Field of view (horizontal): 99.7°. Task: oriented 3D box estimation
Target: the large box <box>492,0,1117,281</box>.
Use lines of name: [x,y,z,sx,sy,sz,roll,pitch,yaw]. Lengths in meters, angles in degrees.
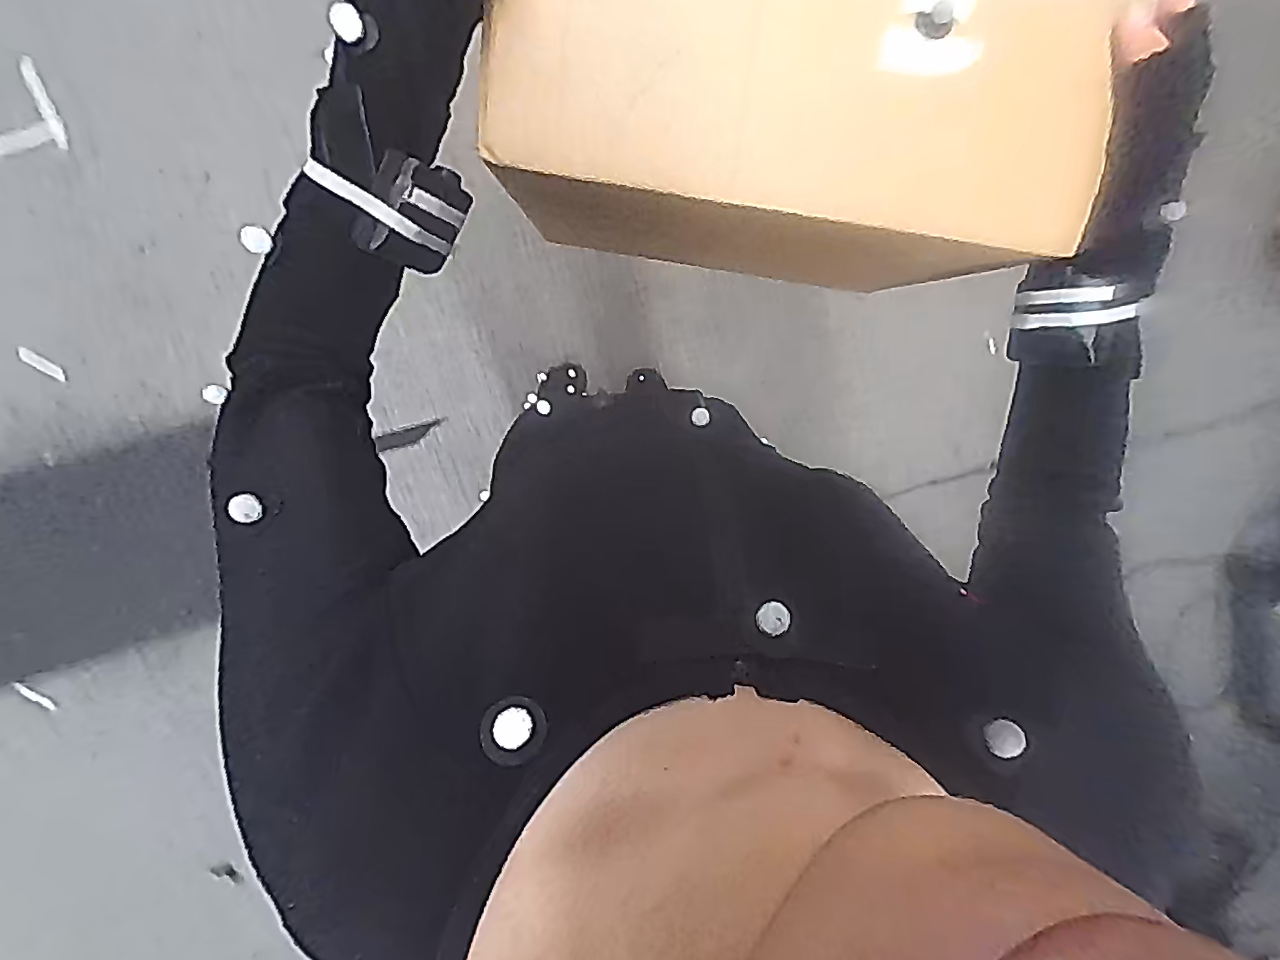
large box: [0.104,-0.374,0.478,0.408,0.320,0.320,6,105,-5]
